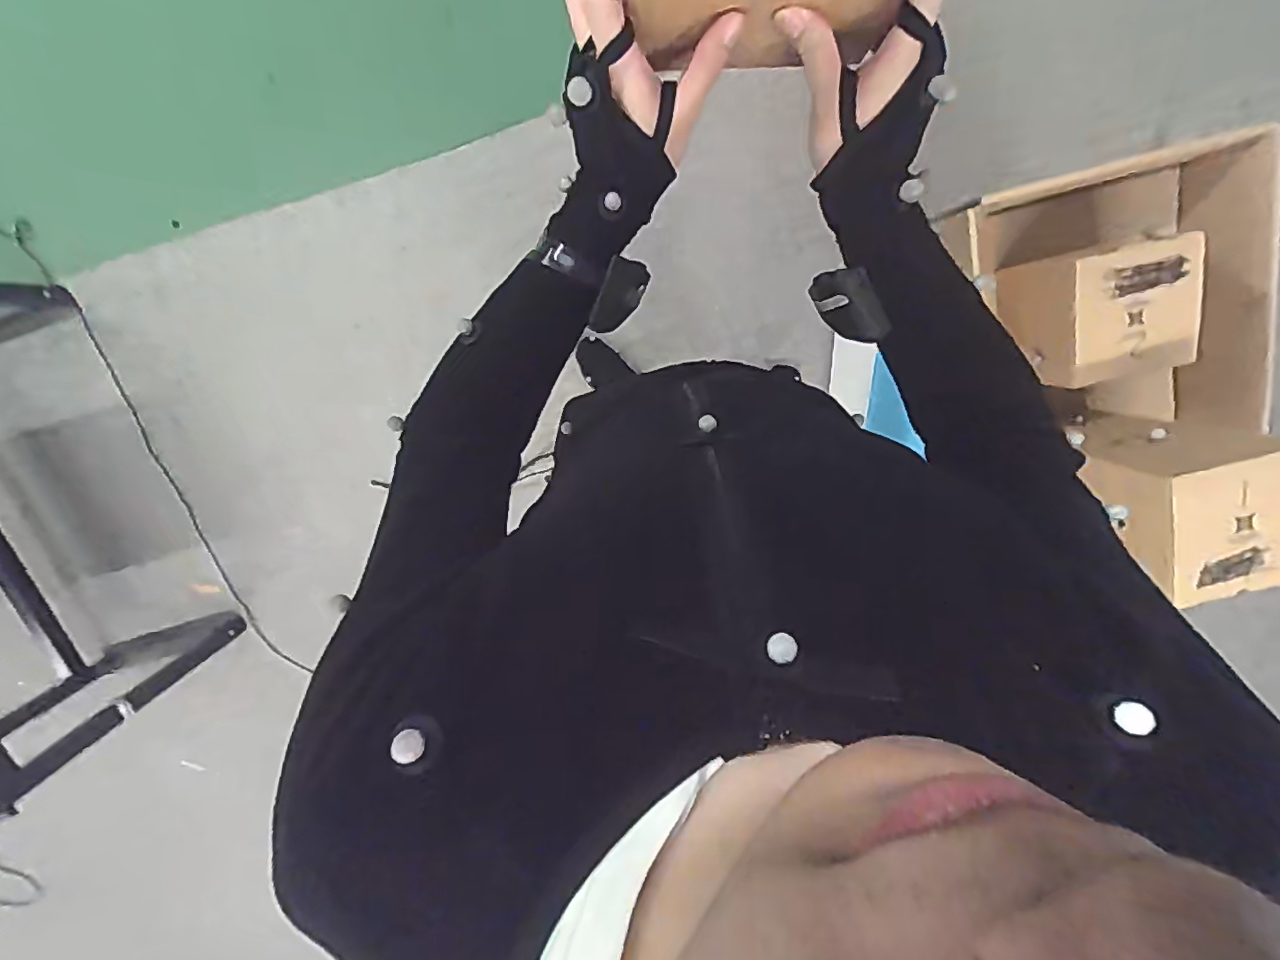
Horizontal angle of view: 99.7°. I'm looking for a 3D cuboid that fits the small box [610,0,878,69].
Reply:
[{"bbox_3d":[0.065,-0.367,0.307,0.179,0.176,0.168,0,103,2],"label":"small box"}]
